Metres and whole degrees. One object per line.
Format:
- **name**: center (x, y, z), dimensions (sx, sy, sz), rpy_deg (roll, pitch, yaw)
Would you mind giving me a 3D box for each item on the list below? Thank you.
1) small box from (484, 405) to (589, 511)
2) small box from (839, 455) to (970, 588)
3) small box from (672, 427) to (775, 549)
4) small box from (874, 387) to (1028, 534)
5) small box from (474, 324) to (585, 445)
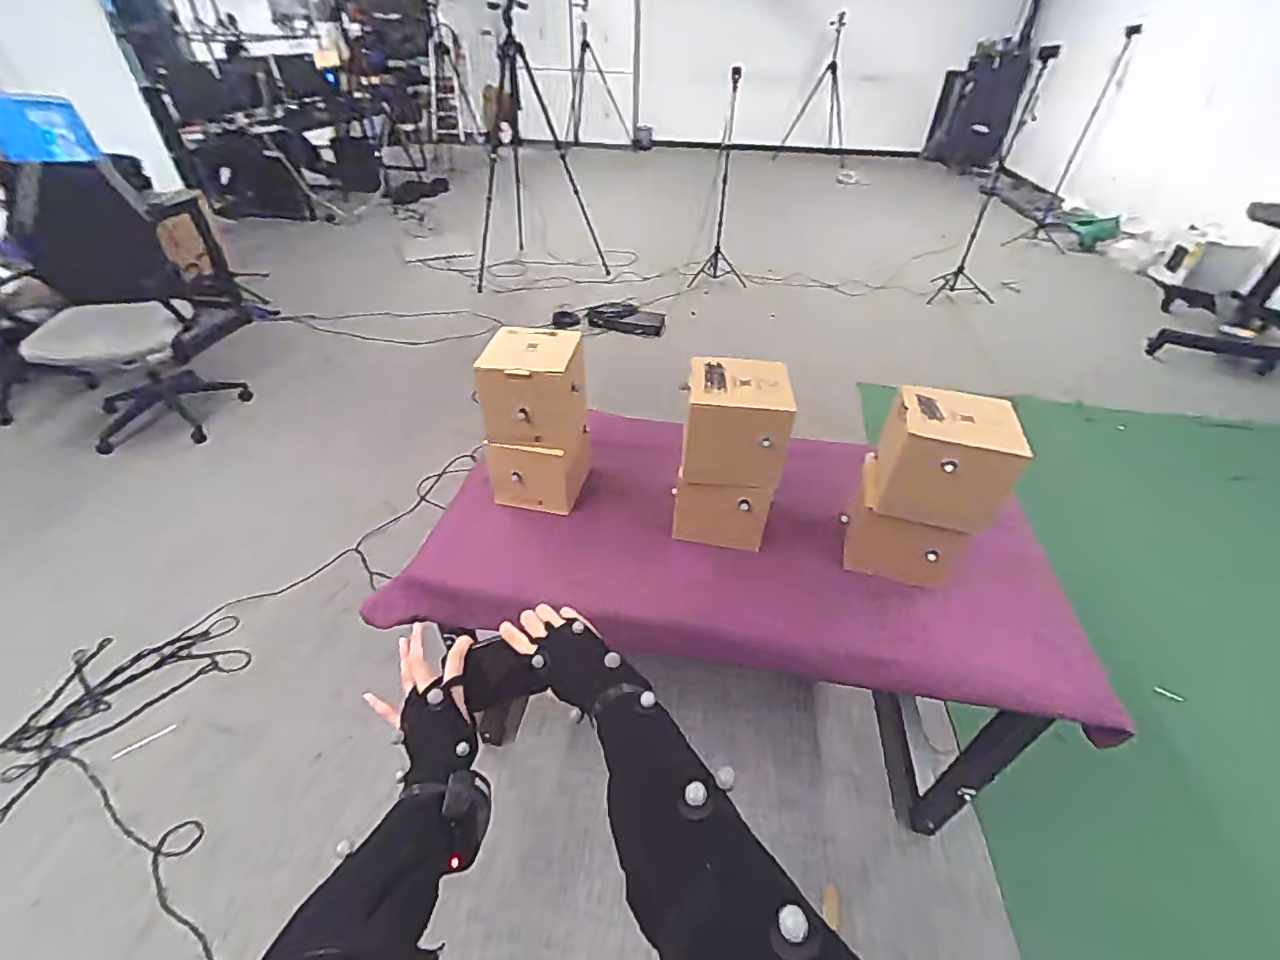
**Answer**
- **small box**: center (-0.210, -0.056, 1.164), dimensions (0.168, 0.176, 0.179), rpy_deg (10, 41, 9)
- **small box**: center (0.496, 0.081, 1.032), dimensions (0.179, 0.176, 0.168), rpy_deg (13, 41, 13)
- **small box**: center (0.167, 0.018, 1.091), dimensions (0.179, 0.176, 0.168), rpy_deg (9, 41, 8)
- **small box**: center (0.506, -0.032, 0.913), dimensions (0.179, 0.176, 0.168), rpy_deg (14, 41, 12)
- **small box**: center (-0.204, -0.186, 1.063), dimensions (0.168, 0.176, 0.179), rpy_deg (7, 41, 4)
